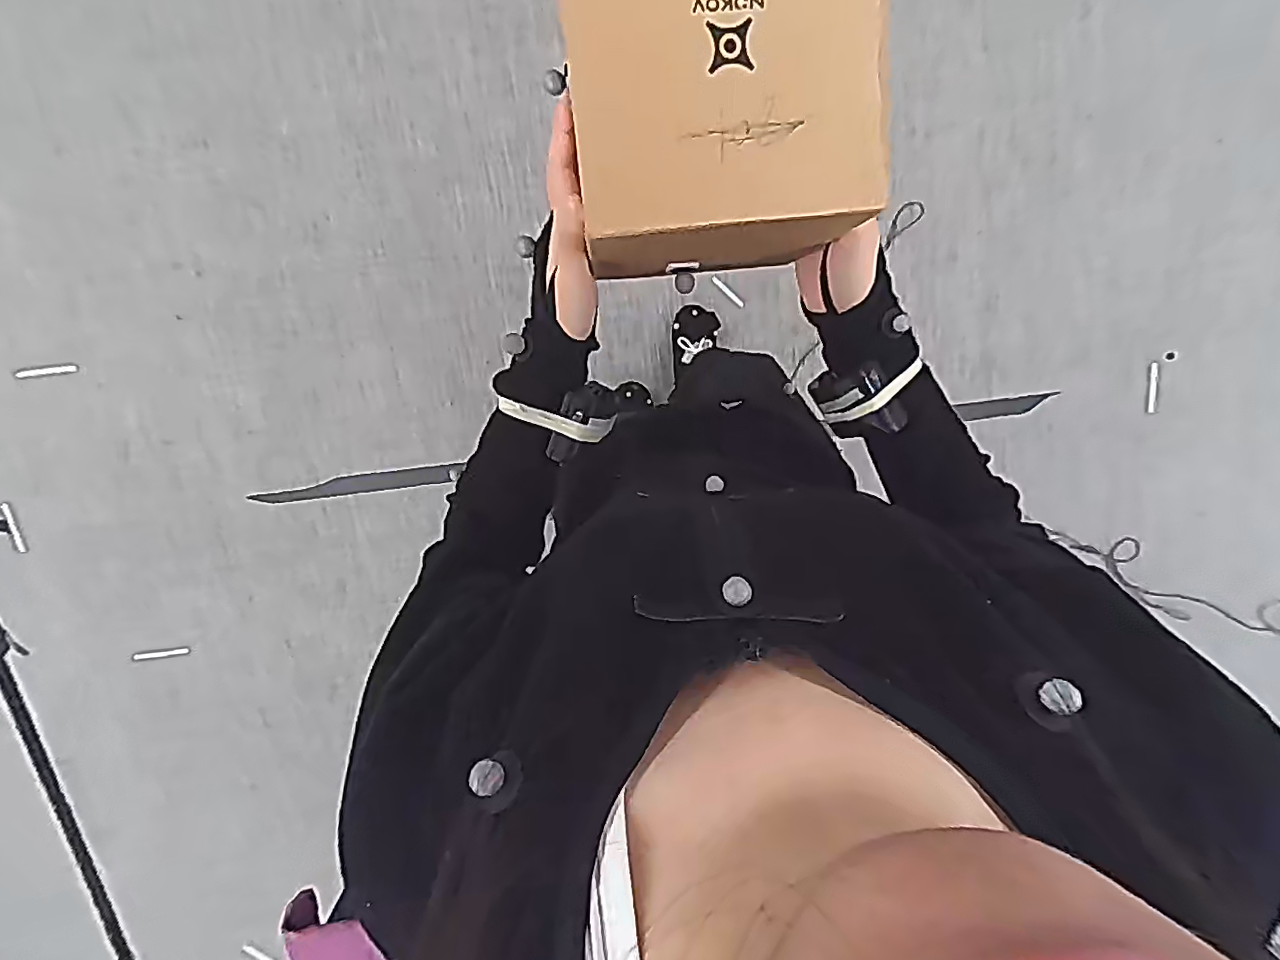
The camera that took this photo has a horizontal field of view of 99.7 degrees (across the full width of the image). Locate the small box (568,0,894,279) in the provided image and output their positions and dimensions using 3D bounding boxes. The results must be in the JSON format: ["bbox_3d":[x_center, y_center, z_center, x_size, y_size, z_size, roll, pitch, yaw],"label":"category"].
[{"bbox_3d":[0.042,-0.241,0.350,0.168,0.176,0.179,-6,103,-2],"label":"small box"}]
